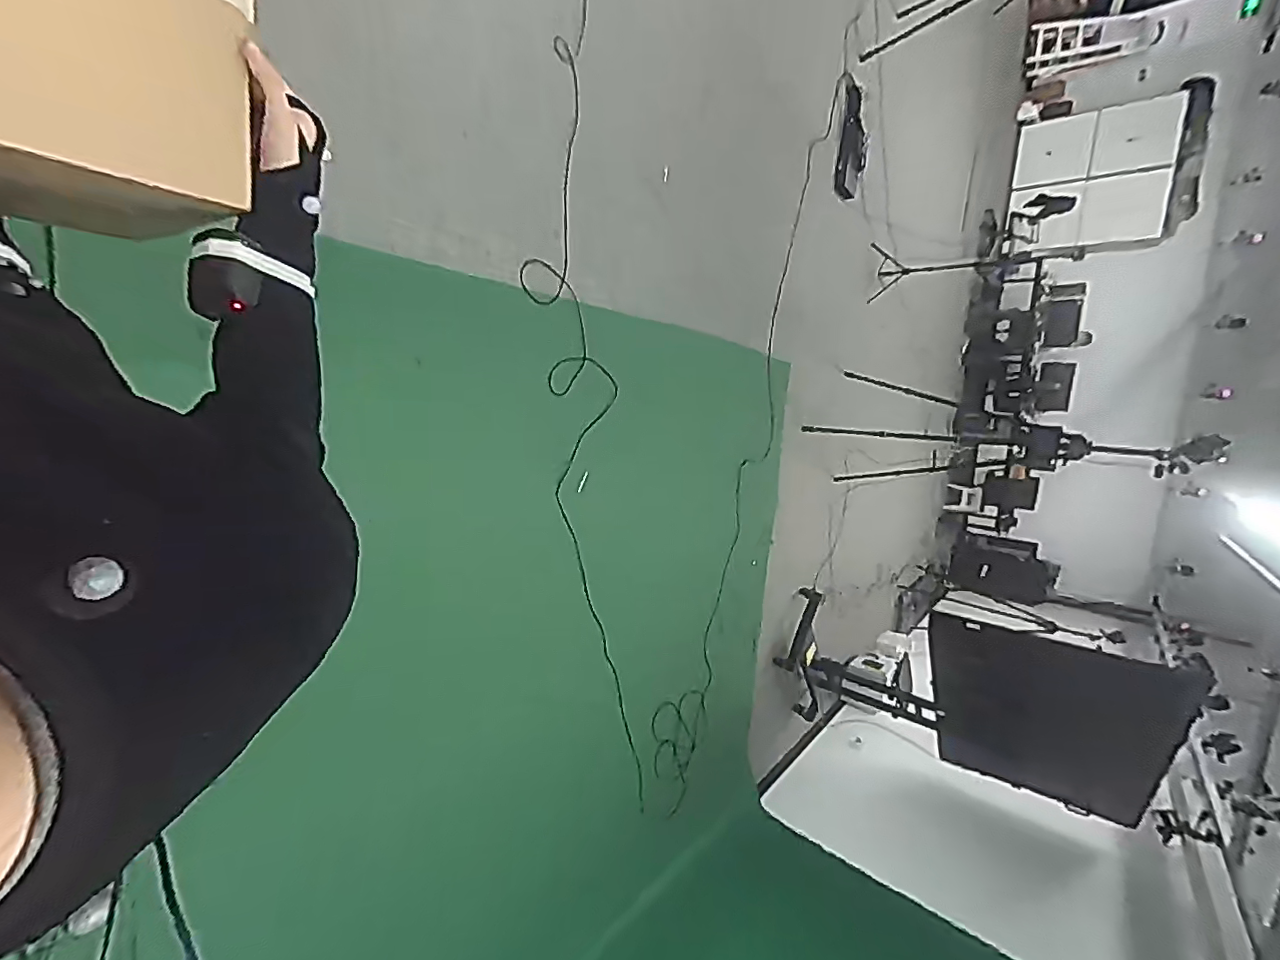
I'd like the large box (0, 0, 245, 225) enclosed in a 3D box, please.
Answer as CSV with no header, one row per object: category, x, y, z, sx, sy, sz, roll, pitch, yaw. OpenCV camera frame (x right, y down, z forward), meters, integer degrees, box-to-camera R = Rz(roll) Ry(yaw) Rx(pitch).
large box,-0.563,-0.393,0.365,0.408,0.320,0.320,-9,107,-53
